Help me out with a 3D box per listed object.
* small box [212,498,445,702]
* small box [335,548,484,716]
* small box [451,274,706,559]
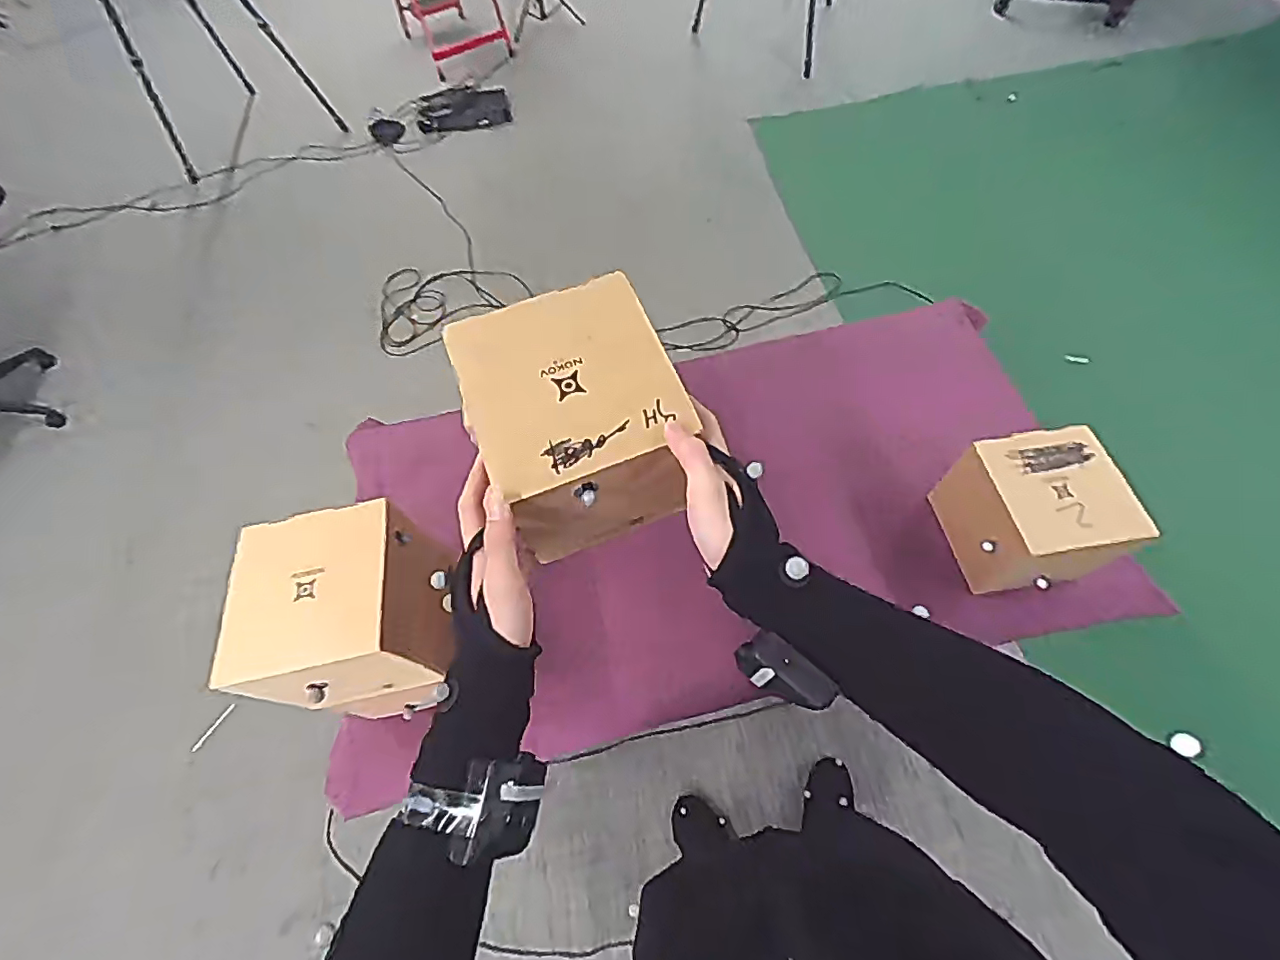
[{"bbox_3d":[-0.337,0.148,0.626,0.168,0.176,0.179,-12,59,-1],"label":"small box"},{"bbox_3d":[-0.331,0.221,0.771,0.168,0.176,0.179,-12,61,-2],"label":"small box"},{"bbox_3d":[-0.053,-0.050,0.504,0.168,0.176,0.179,-21,68,-7],"label":"small box"}]
